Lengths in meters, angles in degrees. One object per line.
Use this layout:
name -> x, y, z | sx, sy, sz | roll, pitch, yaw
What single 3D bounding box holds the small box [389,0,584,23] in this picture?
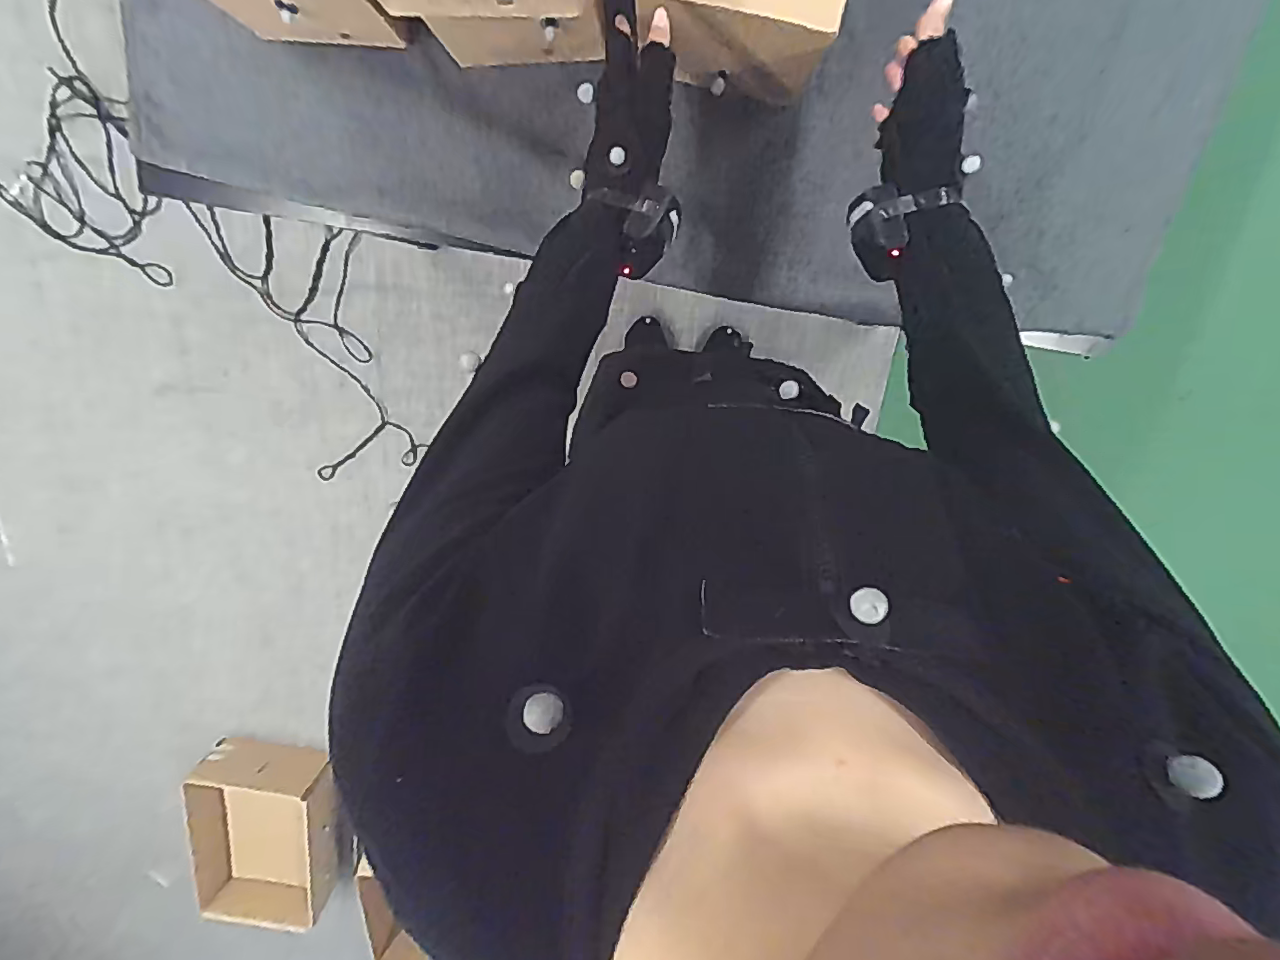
small box -> -0.127, -0.441, 0.356 | 0.168, 0.176, 0.179 | 1, 107, 0
